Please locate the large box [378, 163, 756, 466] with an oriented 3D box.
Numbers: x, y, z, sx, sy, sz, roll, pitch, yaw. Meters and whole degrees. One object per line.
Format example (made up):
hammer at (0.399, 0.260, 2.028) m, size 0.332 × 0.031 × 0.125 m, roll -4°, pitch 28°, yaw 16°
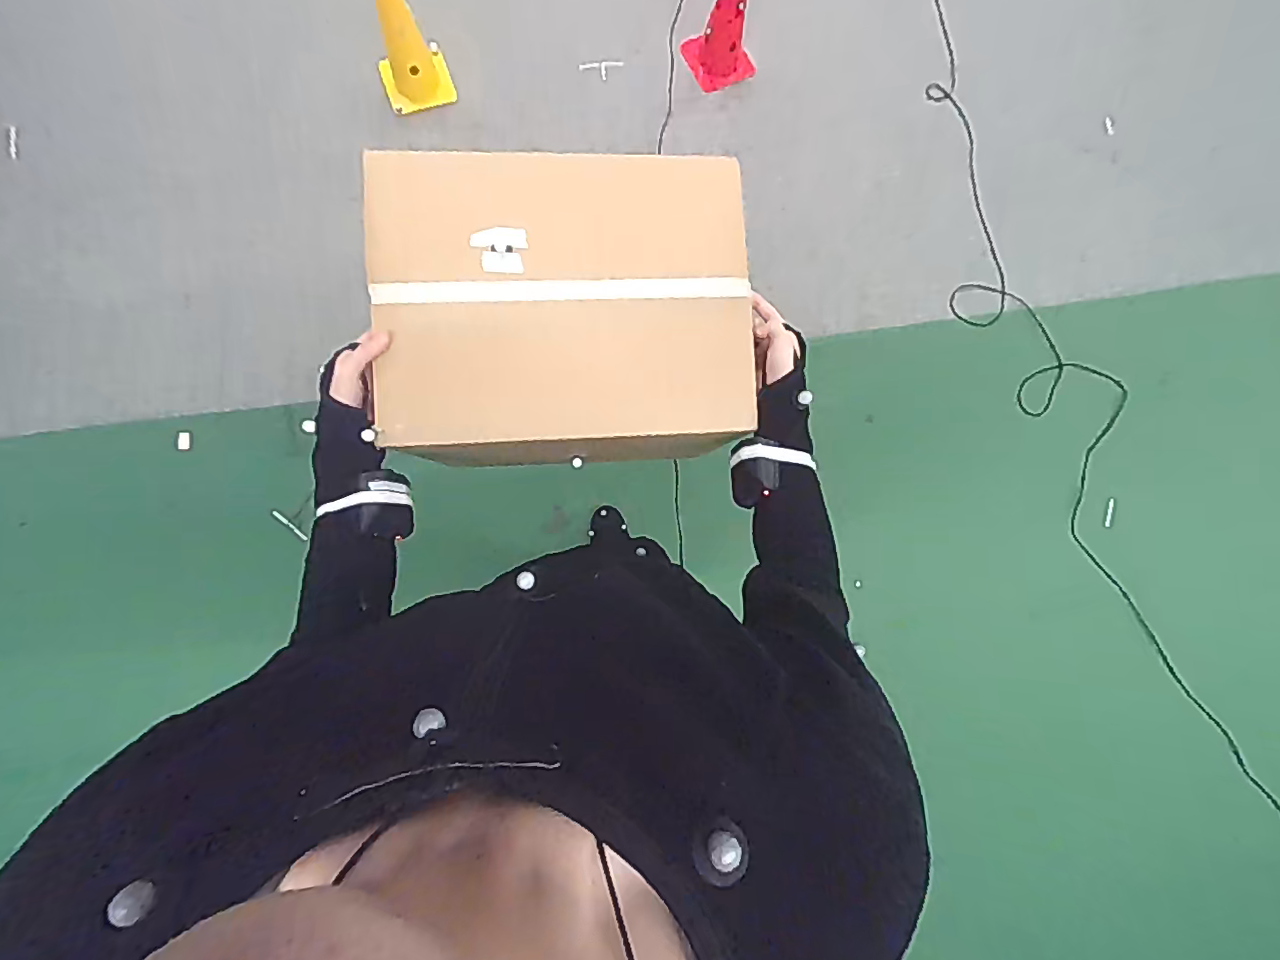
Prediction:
large box at (-0.088, -0.191, 0.741) m, size 0.408 × 0.320 × 0.320 m, roll -3°, pitch 86°, yaw -6°
